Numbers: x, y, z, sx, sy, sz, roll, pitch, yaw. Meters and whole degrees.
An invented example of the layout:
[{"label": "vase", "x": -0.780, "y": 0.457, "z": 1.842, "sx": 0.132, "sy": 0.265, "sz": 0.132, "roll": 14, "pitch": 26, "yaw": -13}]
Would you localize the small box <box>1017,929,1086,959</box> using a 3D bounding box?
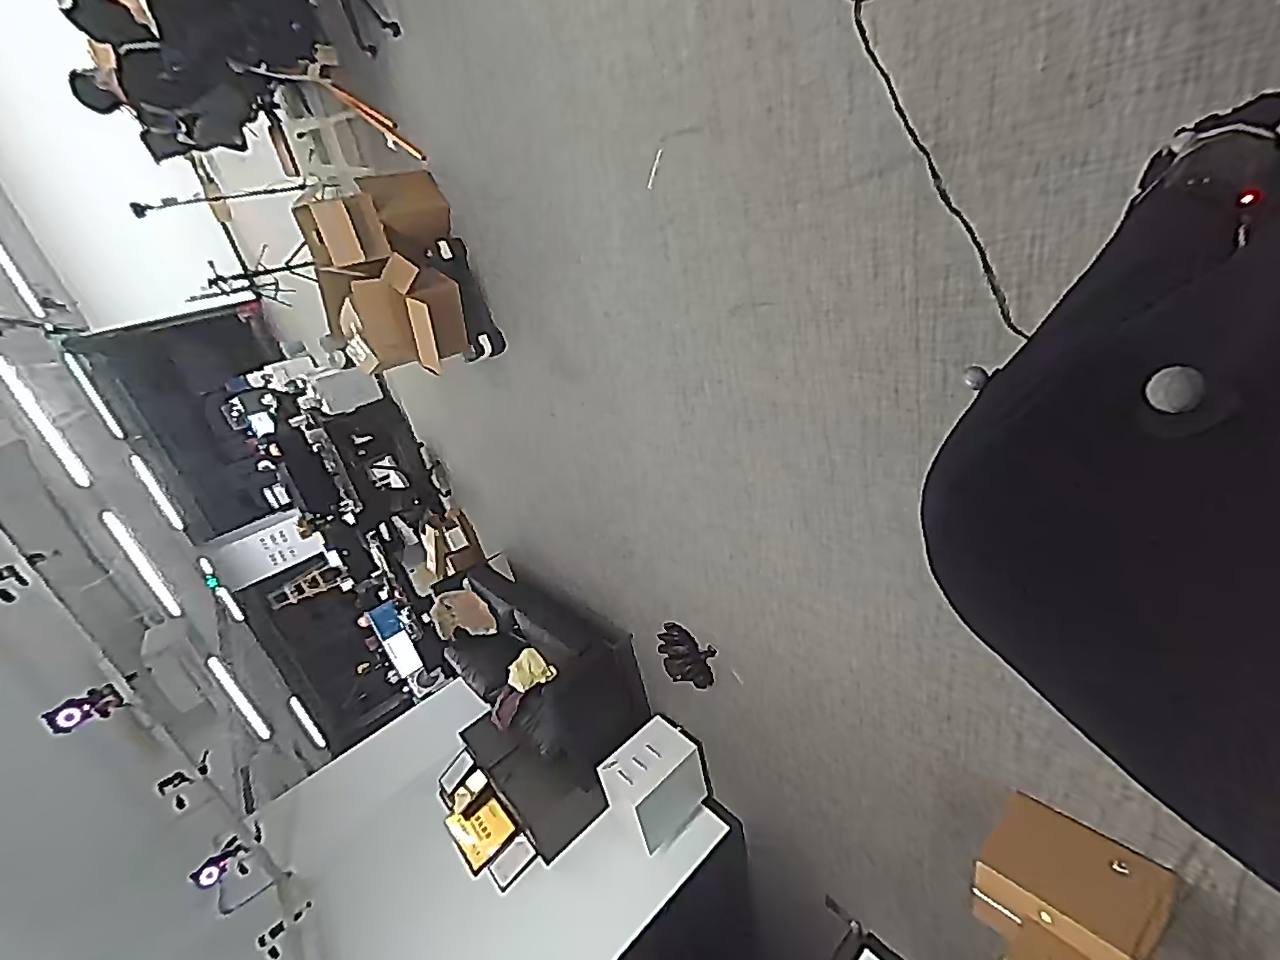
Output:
[{"label": "small box", "x": 1.156, "y": 1.411, "z": 1.508, "sx": 0.179, "sy": 0.176, "sz": 0.168, "roll": 23, "pitch": 128, "yaw": 45}]
